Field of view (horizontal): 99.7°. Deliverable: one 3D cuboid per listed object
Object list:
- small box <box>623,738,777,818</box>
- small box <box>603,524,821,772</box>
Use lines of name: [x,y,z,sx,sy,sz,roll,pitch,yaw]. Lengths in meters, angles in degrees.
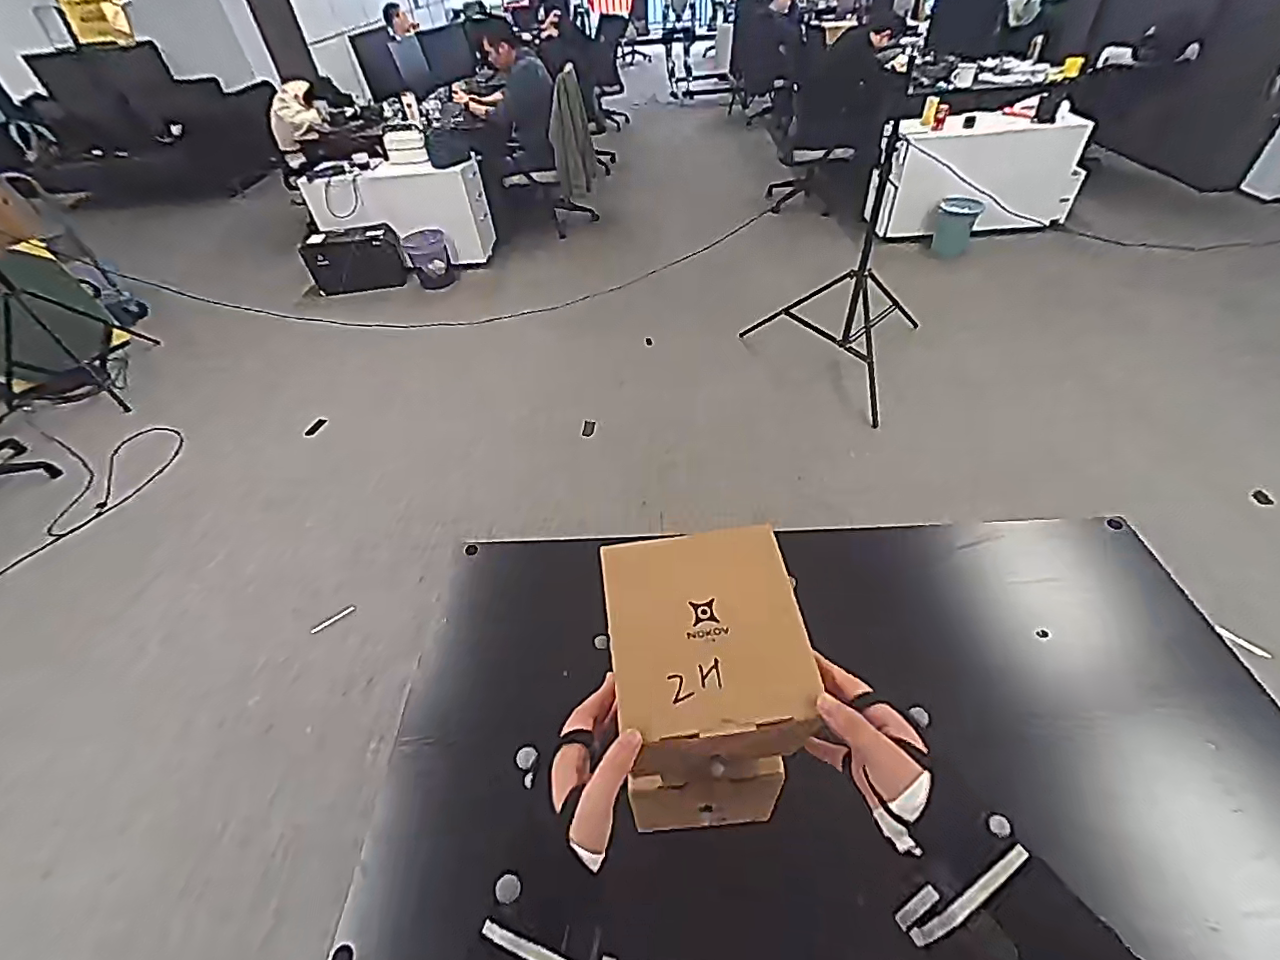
small box: [0.067,0.309,0.682,0.168,0.176,0.179,-6,45,0]
small box: [0.056,0.168,0.536,0.168,0.176,0.179,-8,53,-2]
